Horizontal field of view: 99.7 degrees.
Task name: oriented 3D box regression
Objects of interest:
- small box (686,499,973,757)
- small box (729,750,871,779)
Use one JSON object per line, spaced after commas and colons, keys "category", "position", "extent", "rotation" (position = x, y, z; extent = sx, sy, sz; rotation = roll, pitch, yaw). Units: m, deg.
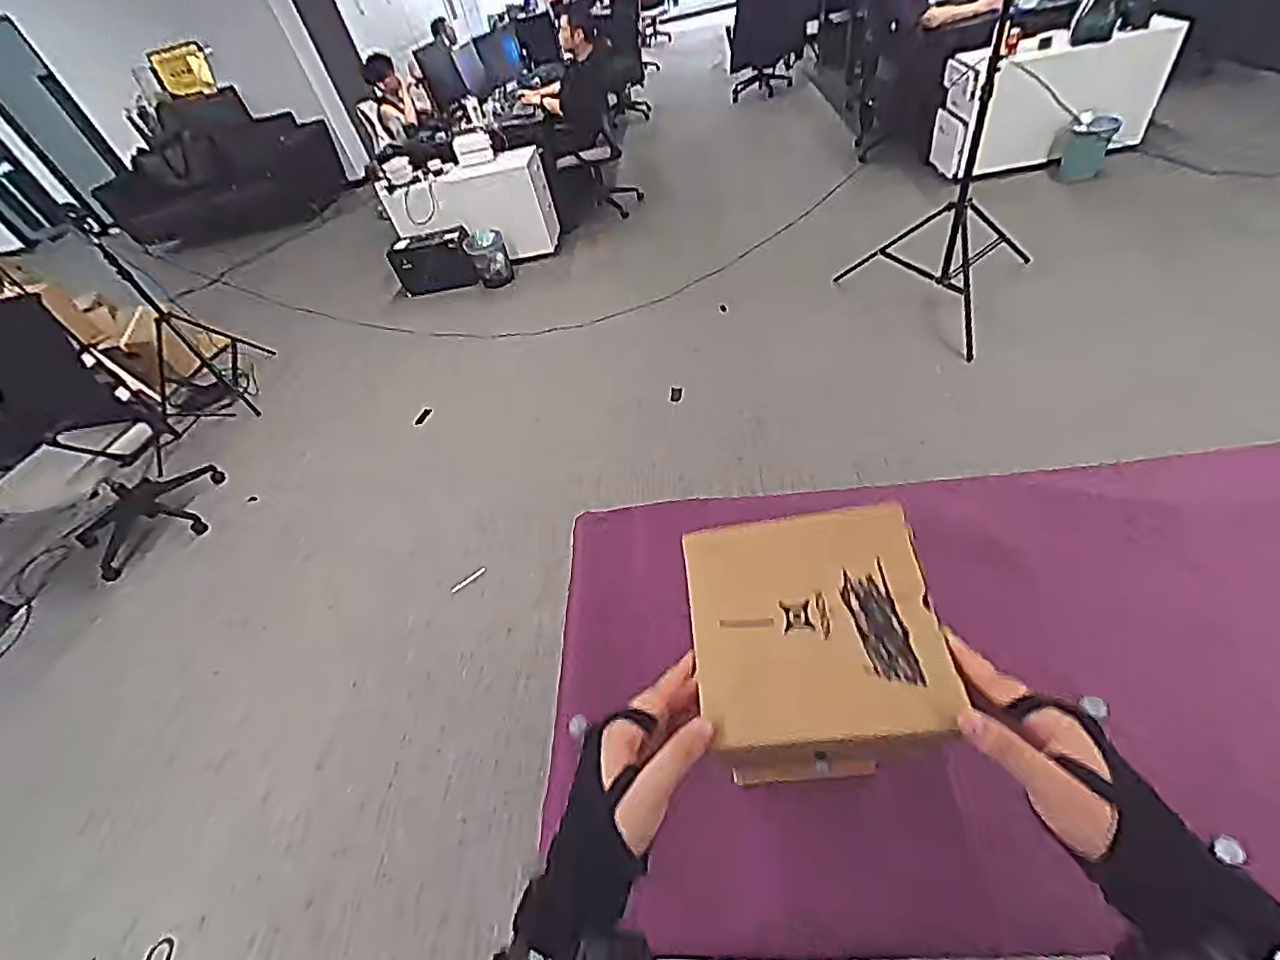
{"category": "small box", "position": [0.144, 0.137, 0.465], "extent": [0.179, 0.176, 0.168], "rotation": [-10, 57, 11]}
{"category": "small box", "position": [0.190, 0.267, 0.691], "extent": [0.179, 0.176, 0.168], "rotation": [-8, 45, 6]}
